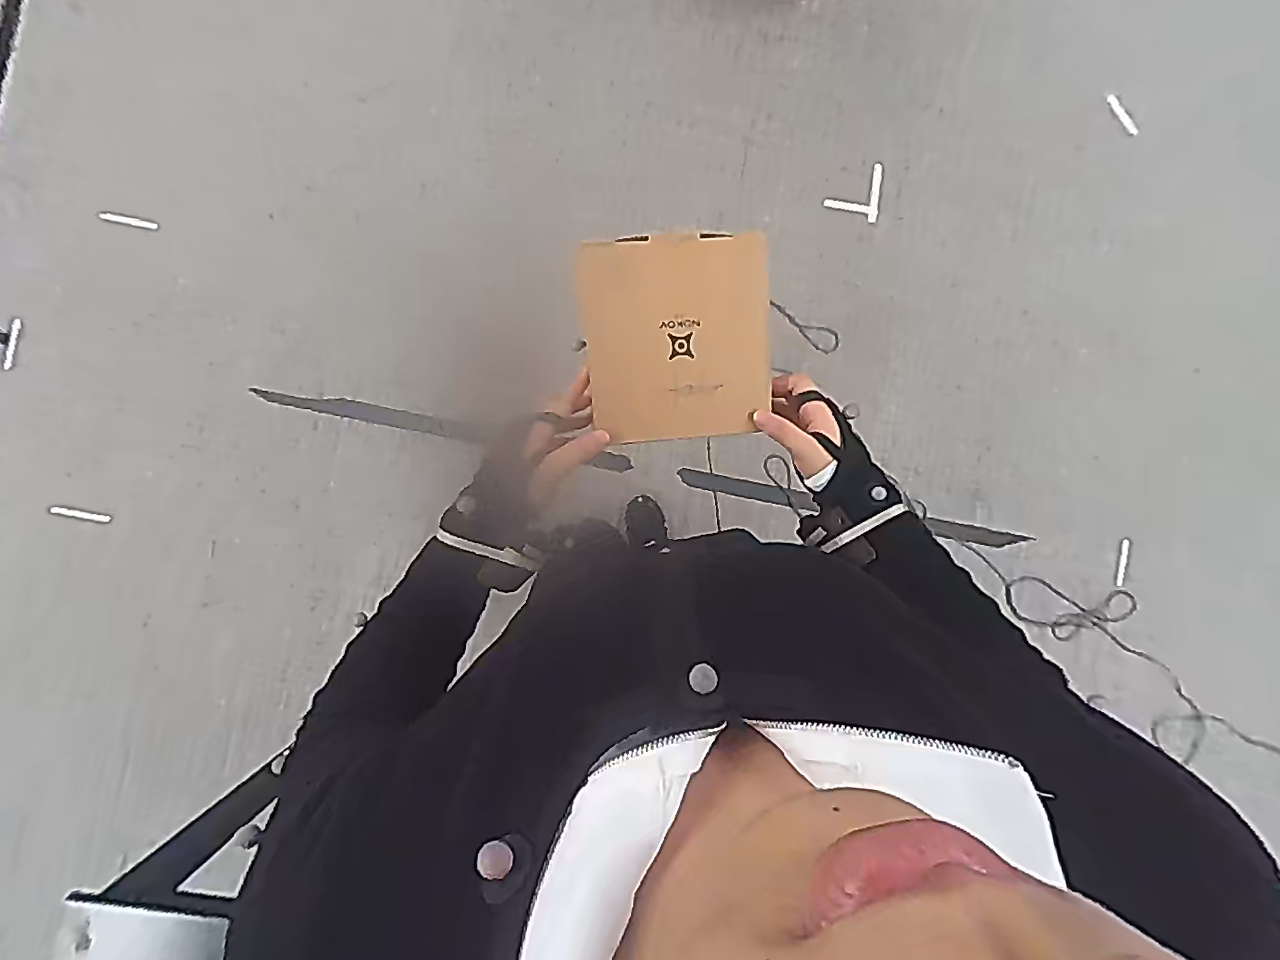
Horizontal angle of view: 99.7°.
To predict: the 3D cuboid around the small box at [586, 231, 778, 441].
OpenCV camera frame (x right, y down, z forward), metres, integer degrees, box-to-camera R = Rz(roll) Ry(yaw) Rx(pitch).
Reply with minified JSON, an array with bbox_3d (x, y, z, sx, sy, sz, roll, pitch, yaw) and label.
[{"bbox_3d":[0.033,-0.141,0.557,0.168,0.176,0.179,-5,102,-5],"label":"small box"}]
